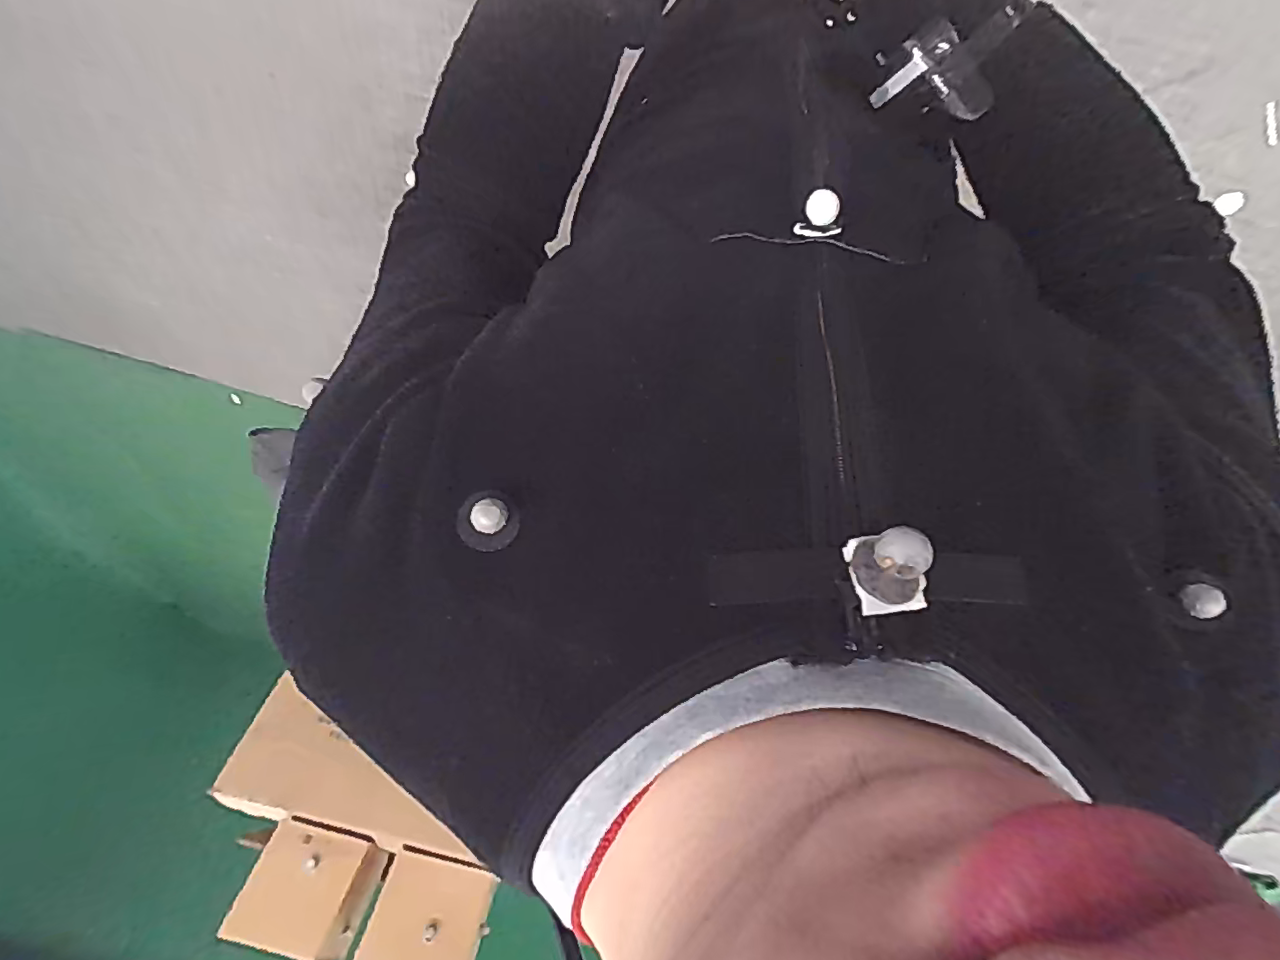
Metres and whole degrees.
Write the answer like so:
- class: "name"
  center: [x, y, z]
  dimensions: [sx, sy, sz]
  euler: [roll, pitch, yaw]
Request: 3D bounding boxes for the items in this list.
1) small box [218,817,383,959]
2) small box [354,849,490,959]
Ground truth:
- class: "small box"
  center: [-0.592, 0.736, 0.976]
  dimensions: [0.168, 0.176, 0.179]
  euler: [15, 138, 1]
- class: "small box"
  center: [-0.376, 0.781, 0.968]
  dimensions: [0.179, 0.176, 0.168]
  euler: [14, 138, 0]
